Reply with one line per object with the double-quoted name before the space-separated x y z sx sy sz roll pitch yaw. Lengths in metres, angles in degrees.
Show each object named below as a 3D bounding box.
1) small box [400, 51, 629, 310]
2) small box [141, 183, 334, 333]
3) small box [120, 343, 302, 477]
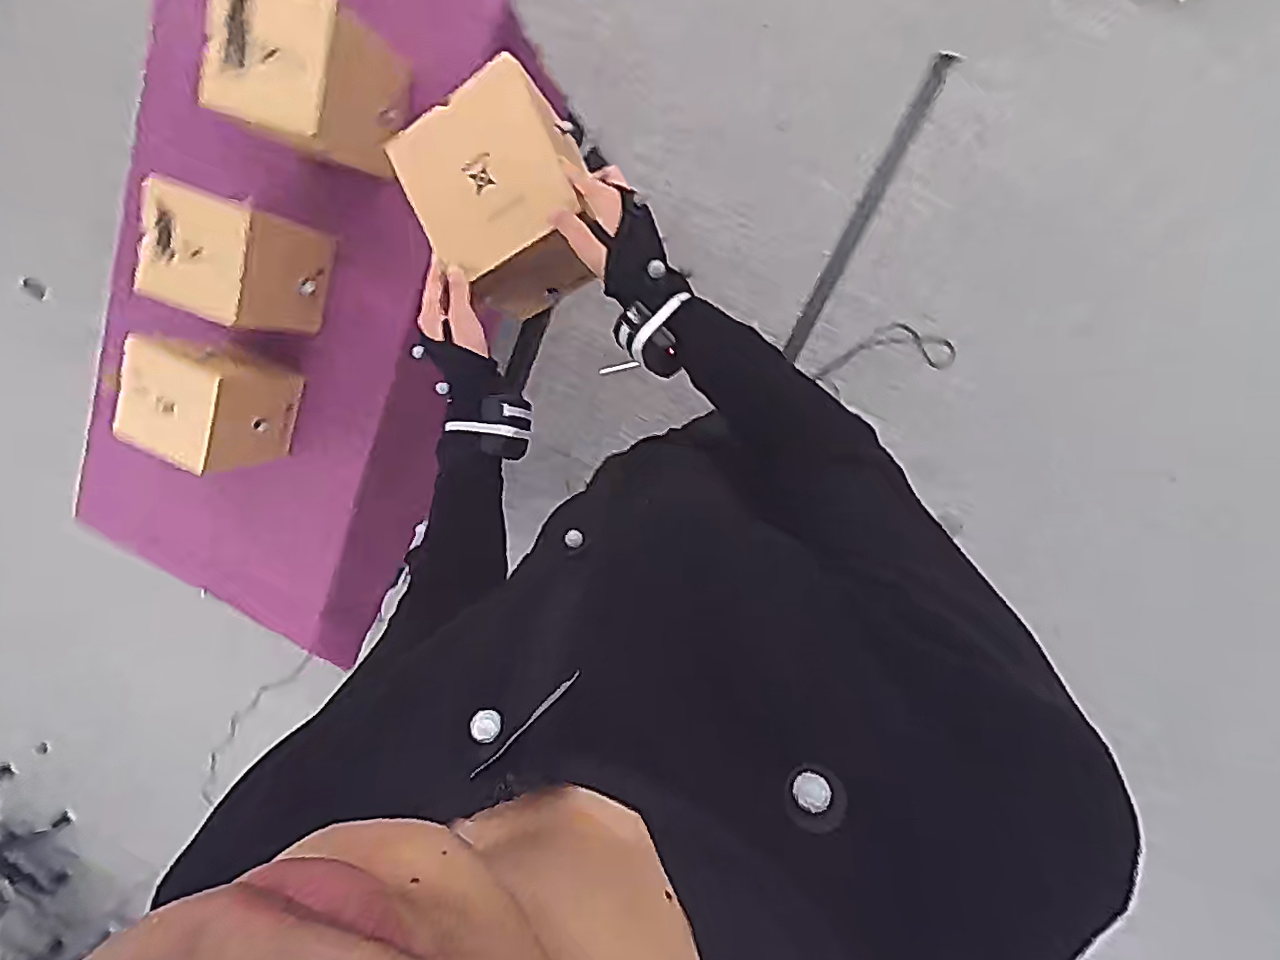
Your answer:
"small box" -0.134 -0.327 0.634 0.168 0.176 0.179 -24 89 16
"small box" -0.639 -0.343 0.871 0.179 0.176 0.168 20 104 7
"small box" -0.726 -0.126 0.931 0.179 0.176 0.168 24 105 7
